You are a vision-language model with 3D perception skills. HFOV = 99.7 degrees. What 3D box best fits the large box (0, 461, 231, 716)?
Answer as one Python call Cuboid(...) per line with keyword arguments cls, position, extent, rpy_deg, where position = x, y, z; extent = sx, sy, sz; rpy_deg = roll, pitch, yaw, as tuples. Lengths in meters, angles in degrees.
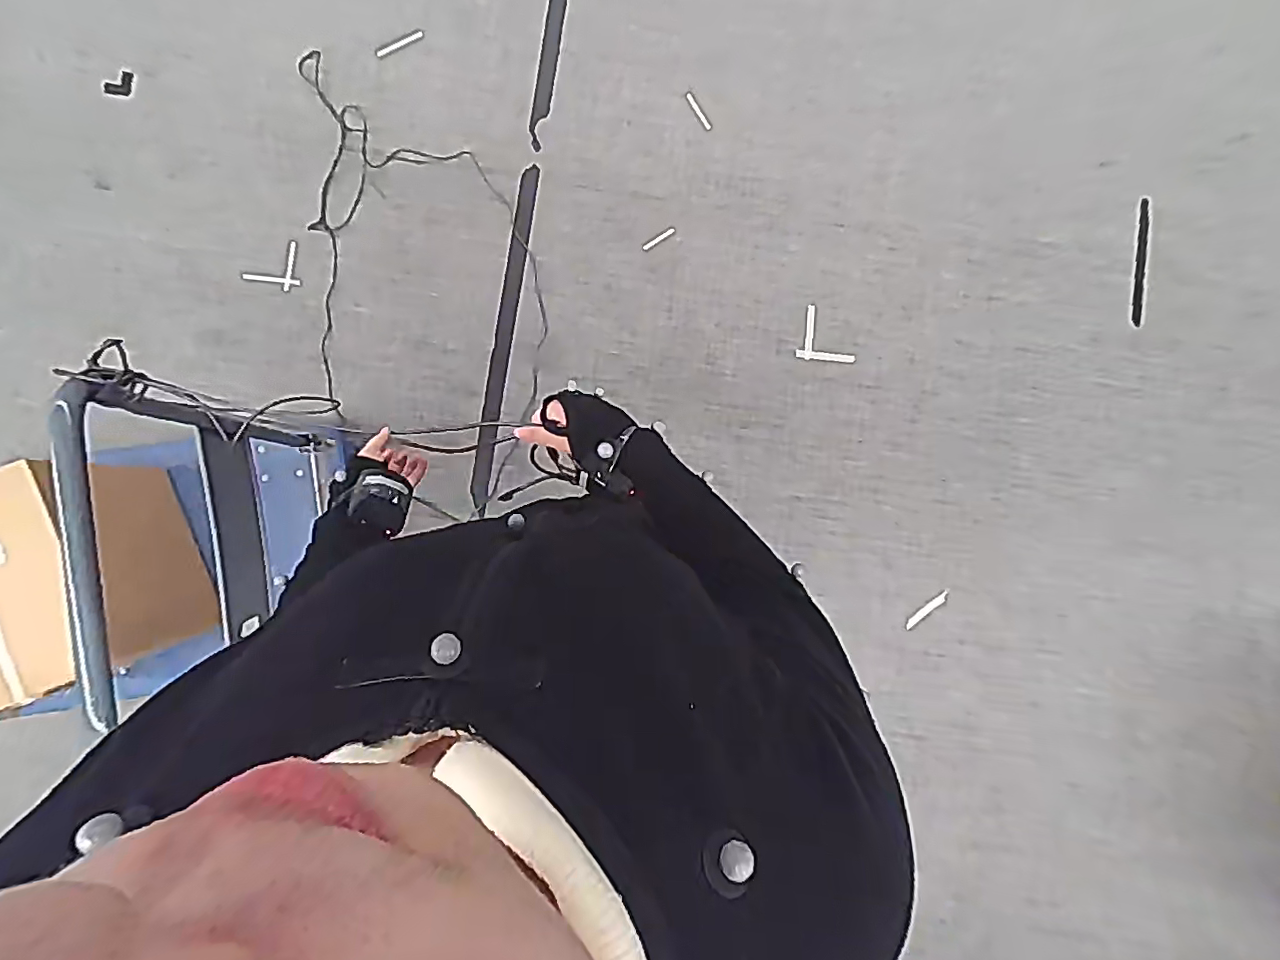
Cuboid(cls="large box", position=(-1.166, 0.209, 1.120), extent=(0.320, 0.320, 0.408), rpy_deg=(-23, 89, -4))
